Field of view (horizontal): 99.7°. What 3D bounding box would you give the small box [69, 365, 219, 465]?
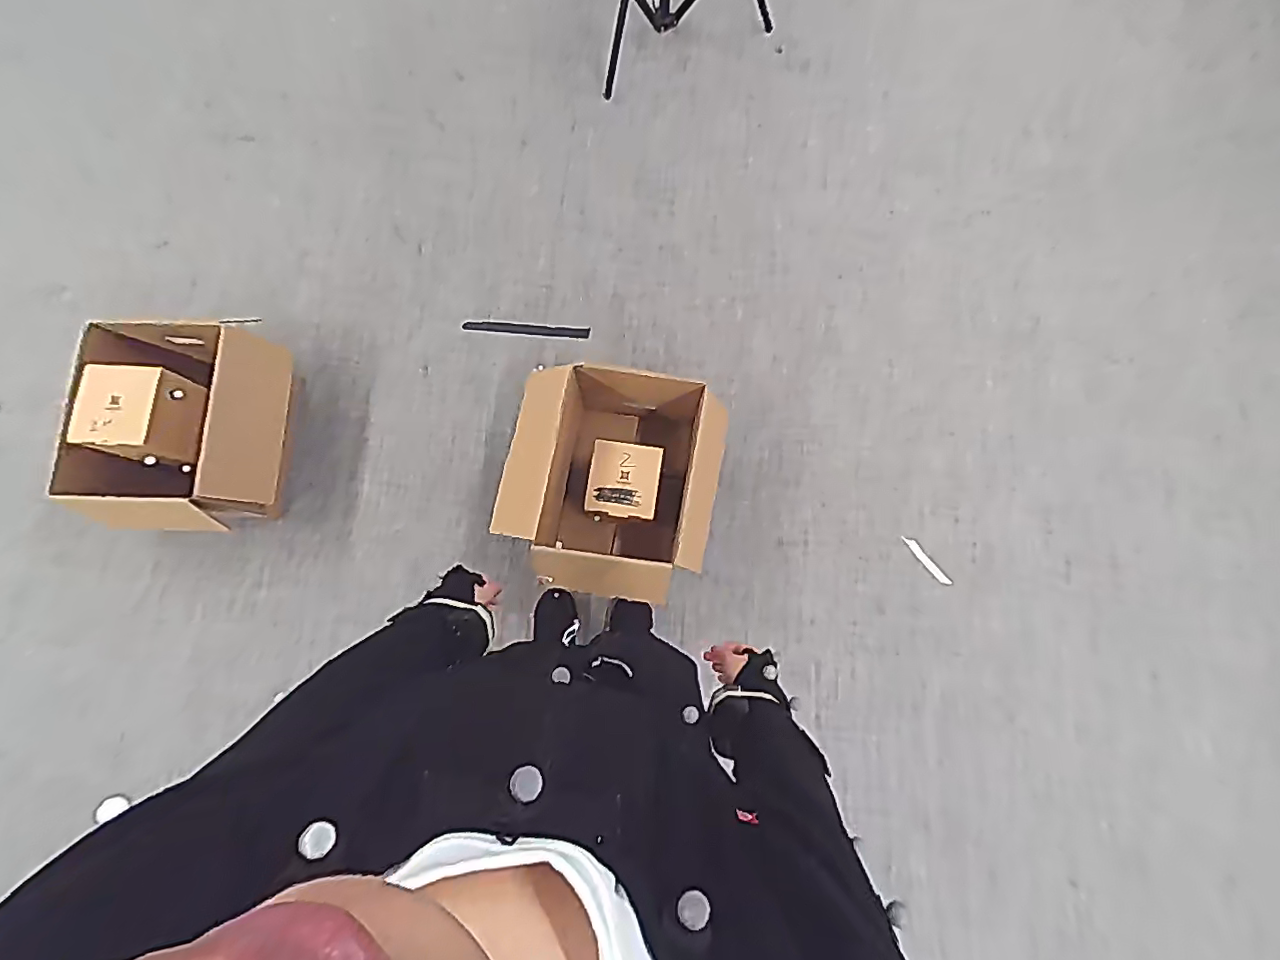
[{"bbox_3d":[-1.098,-0.142,1.215,0.168,0.176,0.179,3,79,1],"label":"small box"}]
